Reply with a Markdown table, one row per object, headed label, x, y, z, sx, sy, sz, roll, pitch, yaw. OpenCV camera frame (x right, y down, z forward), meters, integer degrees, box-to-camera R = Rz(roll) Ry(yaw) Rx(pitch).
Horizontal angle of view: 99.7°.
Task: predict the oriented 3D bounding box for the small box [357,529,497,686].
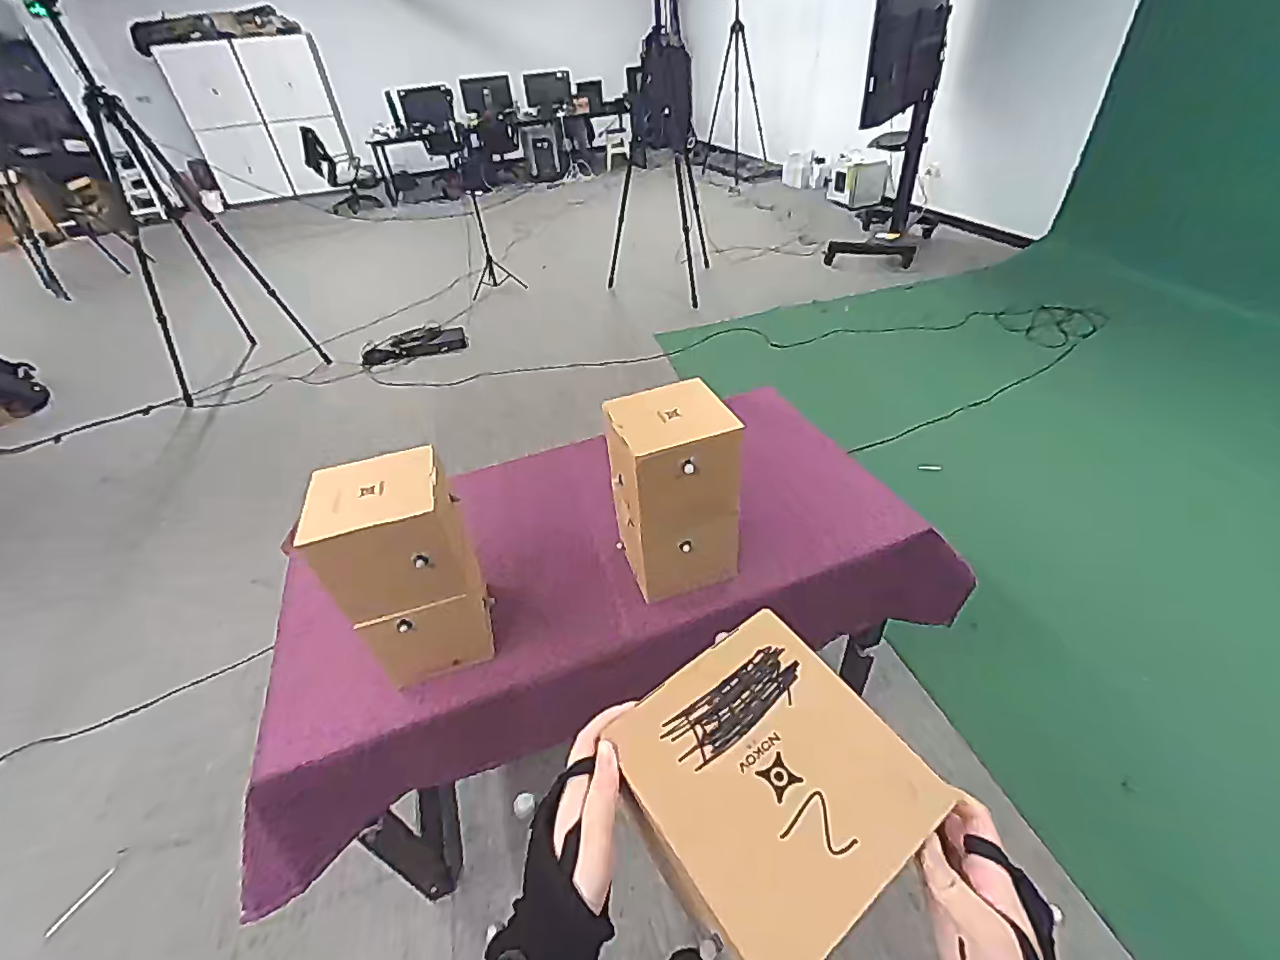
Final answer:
| label | x | y | z | sx | sy | sz | roll | pitch | yaw |
| --- | --- | --- | --- | --- | --- | --- | --- | --- | --- |
| small box | -0.346 | 0.206 | 0.903 | 0.168 | 0.176 | 0.179 | -16 | 40 | -10 |

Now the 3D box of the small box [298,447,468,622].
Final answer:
| label | x | y | z | sx | sy | sz | roll | pitch | yaw |
| --- | --- | --- | --- | --- | --- | --- | --- | --- | --- |
| small box | -0.360 | 0.080 | 0.799 | 0.179 | 0.176 | 0.168 | -15 | 40 | -9 |

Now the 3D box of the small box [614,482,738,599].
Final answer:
| label | x | y | z | sx | sy | sz | roll | pitch | yaw |
| --- | --- | --- | --- | --- | --- | --- | --- | --- | --- |
| small box | 0.066 | 0.091 | 0.986 | 0.179 | 0.176 | 0.168 | -16 | 40 | -12 |

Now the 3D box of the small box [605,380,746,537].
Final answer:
| label | x | y | z | sx | sy | sz | roll | pitch | yaw |
| --- | --- | --- | --- | --- | --- | --- | --- | --- | --- |
| small box | 0.055 | -0.035 | 0.883 | 0.179 | 0.176 | 0.168 | -17 | 41 | -11 |
